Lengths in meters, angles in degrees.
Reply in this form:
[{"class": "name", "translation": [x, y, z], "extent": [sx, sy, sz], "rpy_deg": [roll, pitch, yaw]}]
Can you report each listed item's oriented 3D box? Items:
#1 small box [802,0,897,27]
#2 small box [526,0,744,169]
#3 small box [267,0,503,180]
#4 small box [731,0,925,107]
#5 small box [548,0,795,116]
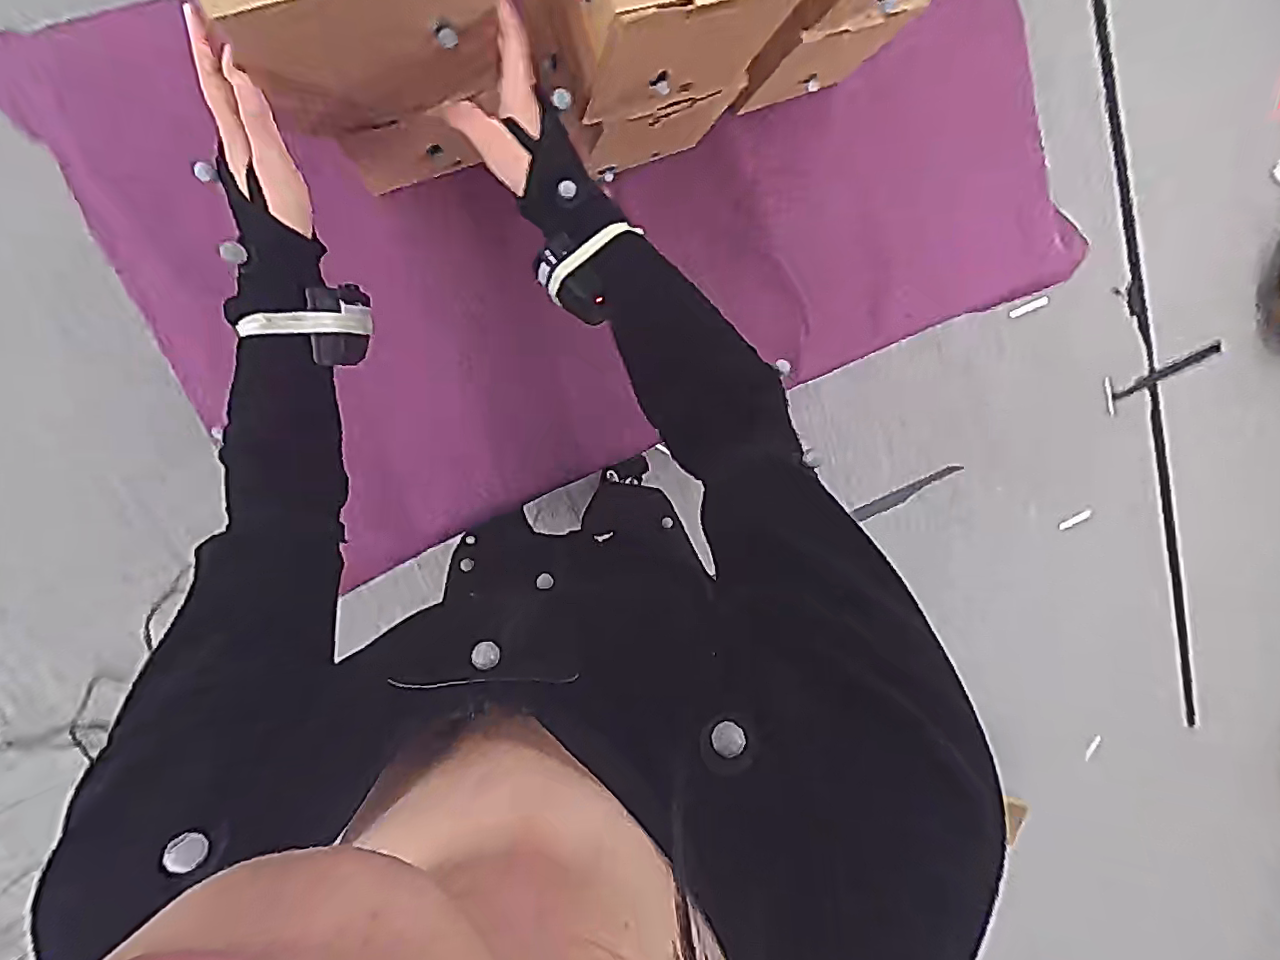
[{"class": "small box", "translation": [0.230, -0.555, 0.466], "extent": [0.168, 0.176, 0.179], "rpy_deg": [-26, 107, -8]}, {"class": "small box", "translation": [-0.014, -0.468, 0.590], "extent": [0.168, 0.176, 0.179], "rpy_deg": [-24, 105, -9]}, {"class": "small box", "translation": [-0.245, -0.424, 0.536], "extent": [0.168, 0.176, 0.179], "rpy_deg": [-24, 107, -9]}, {"class": "small box", "translation": [0.187, -0.578, 0.620], "extent": [0.168, 0.176, 0.179], "rpy_deg": [-23, 106, -8]}, {"class": "small box", "translation": [0.012, -0.437, 0.431], "extent": [0.168, 0.176, 0.179], "rpy_deg": [-22, 106, -10]}]
